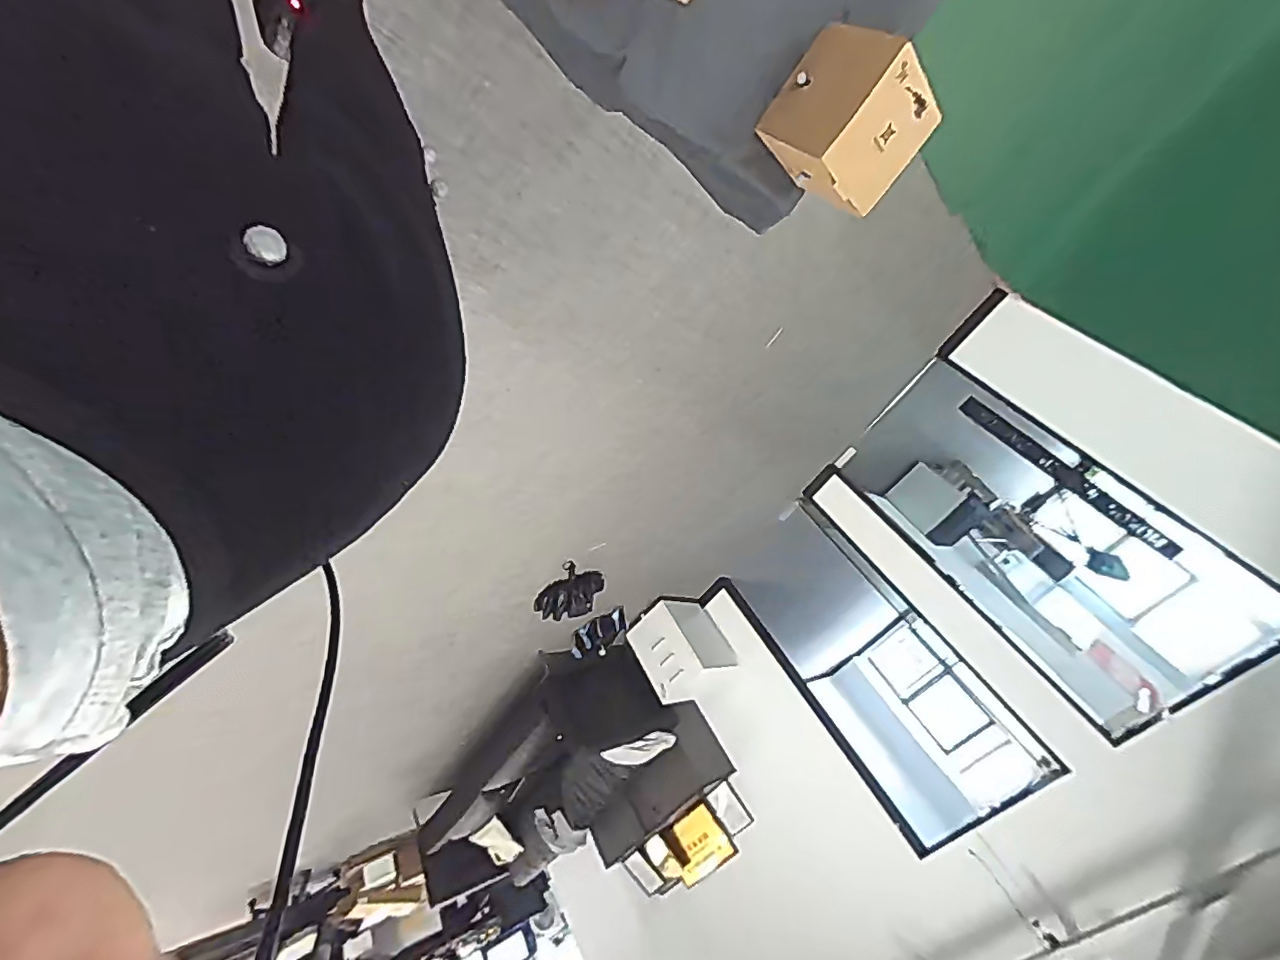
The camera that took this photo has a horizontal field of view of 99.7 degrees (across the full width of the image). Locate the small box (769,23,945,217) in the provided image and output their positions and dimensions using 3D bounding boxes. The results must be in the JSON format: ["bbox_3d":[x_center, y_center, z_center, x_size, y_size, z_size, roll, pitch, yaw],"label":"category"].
[{"bbox_3d":[0.331,-0.565,0.854,0.168,0.176,0.179,15,122,-47],"label":"small box"}]
